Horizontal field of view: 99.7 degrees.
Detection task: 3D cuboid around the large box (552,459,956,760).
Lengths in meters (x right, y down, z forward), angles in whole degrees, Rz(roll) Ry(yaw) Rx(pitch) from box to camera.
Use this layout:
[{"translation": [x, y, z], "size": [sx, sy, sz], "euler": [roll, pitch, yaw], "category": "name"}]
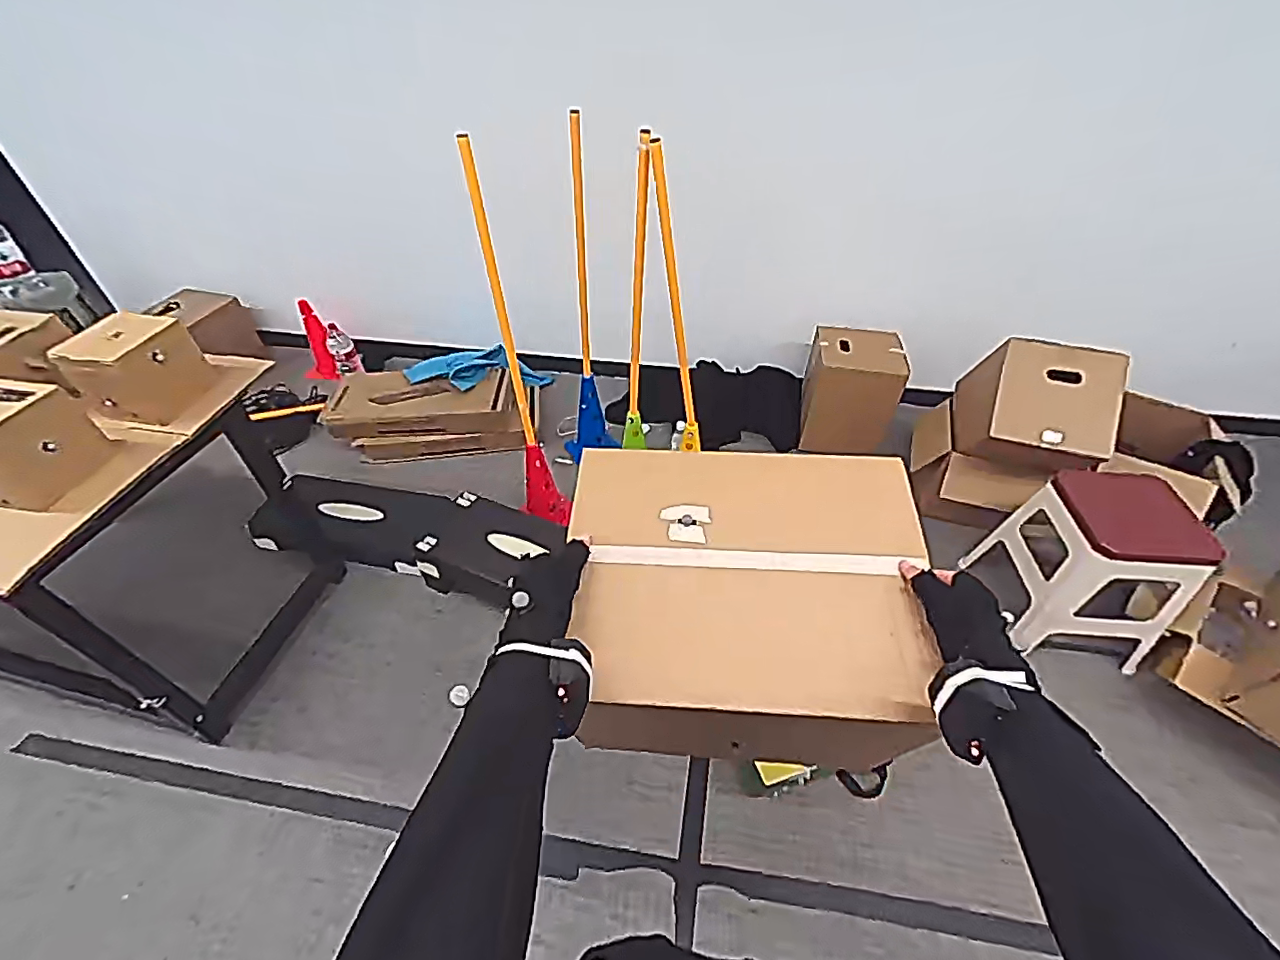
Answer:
[{"translation": [0.126, 0.185, 0.738], "size": [0.408, 0.320, 0.320], "euler": [2, 54, 5], "category": "large box"}]
